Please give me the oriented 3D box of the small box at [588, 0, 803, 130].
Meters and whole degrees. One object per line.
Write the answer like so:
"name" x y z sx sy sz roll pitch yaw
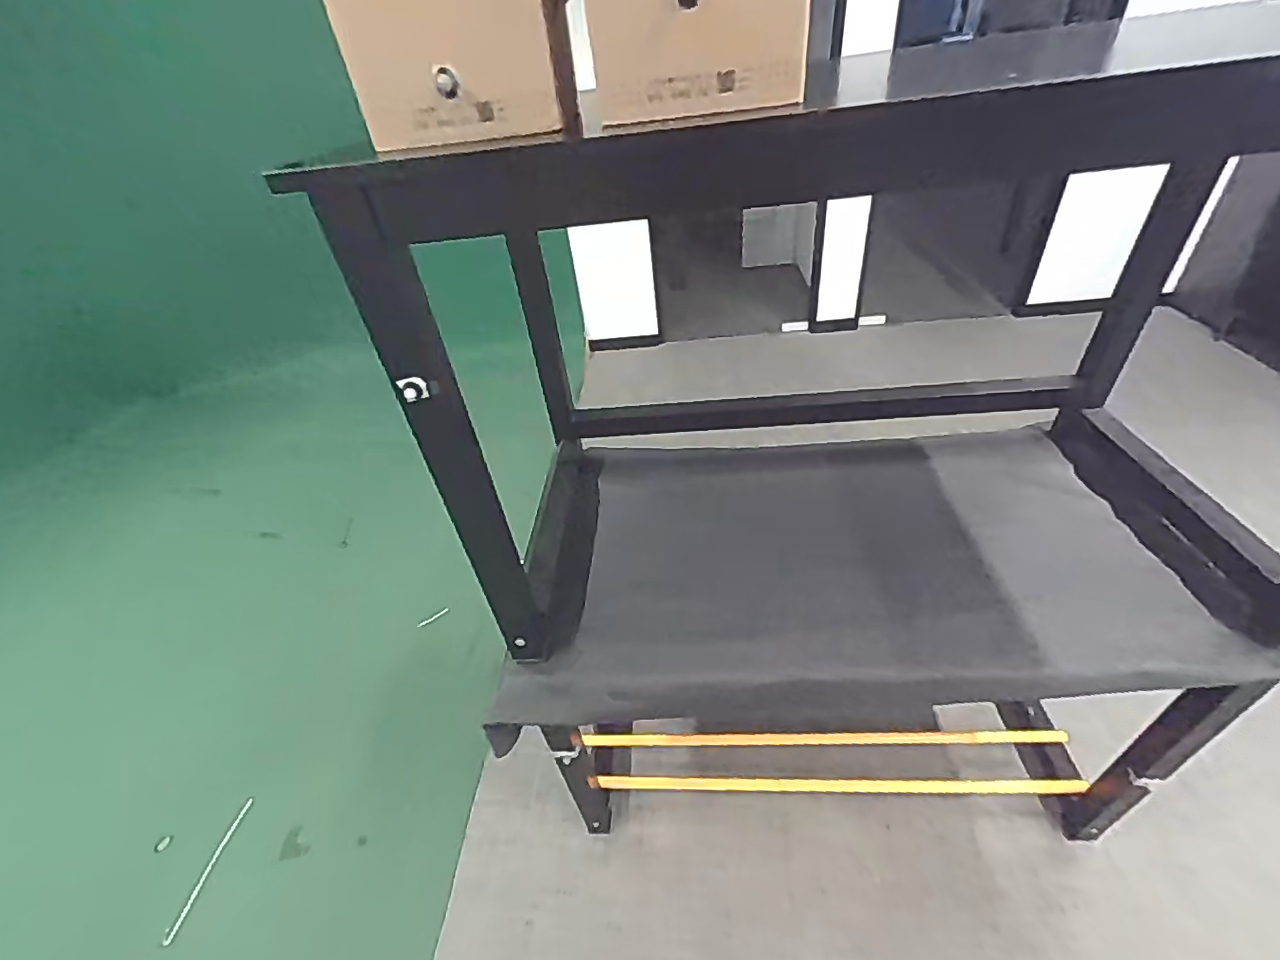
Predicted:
"small box" 0.047 -0.414 0.467 0.168 0.176 0.179 -2 39 7
